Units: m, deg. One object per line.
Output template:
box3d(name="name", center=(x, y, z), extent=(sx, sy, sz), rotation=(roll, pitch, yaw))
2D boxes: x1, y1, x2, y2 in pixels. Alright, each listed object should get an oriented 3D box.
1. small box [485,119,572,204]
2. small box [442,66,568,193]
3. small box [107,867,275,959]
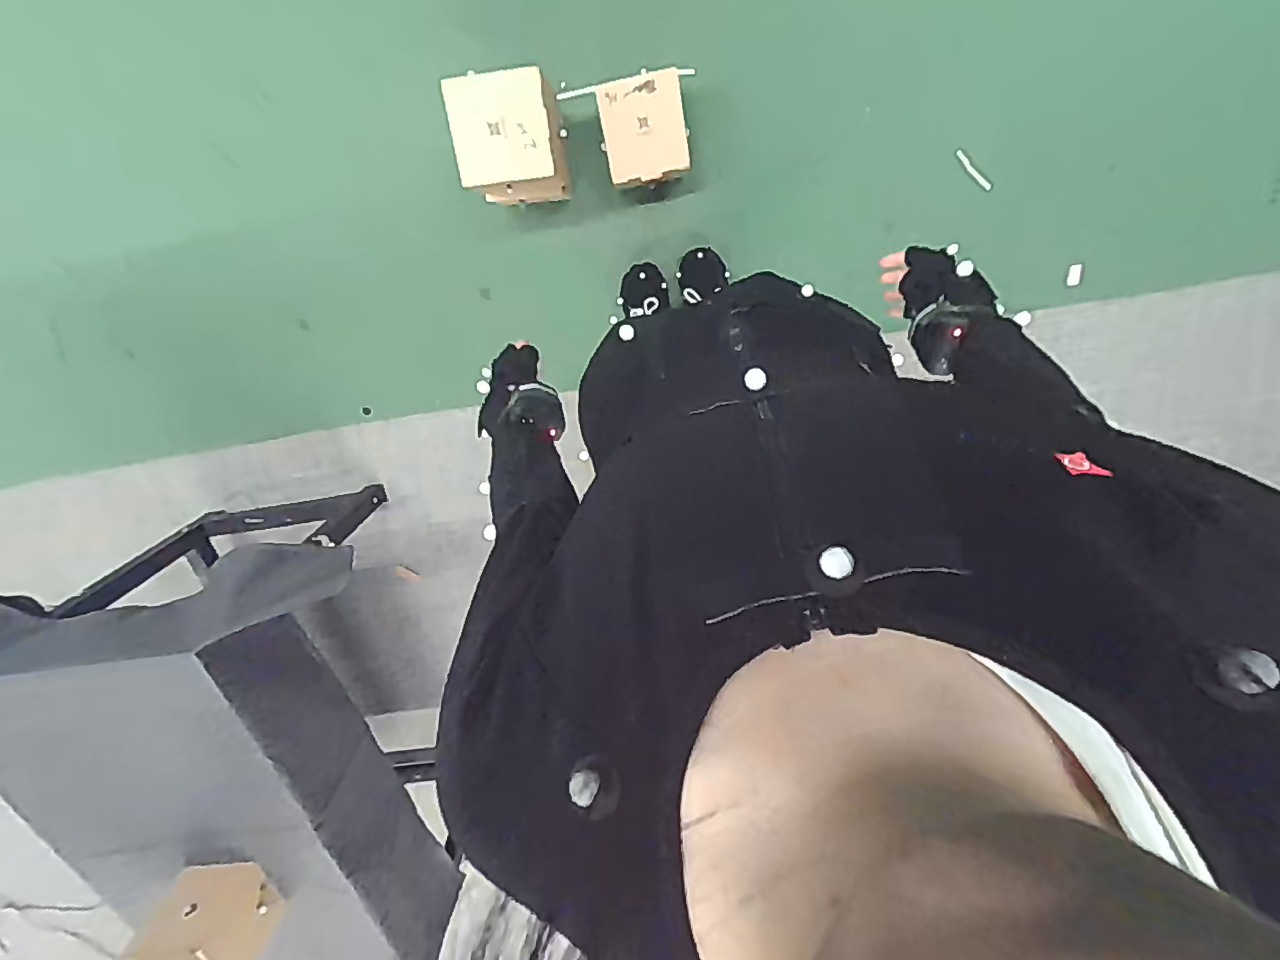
box3d(name="small box", center=(-0.247, -0.704, 1.176), extent=(0.168, 0.176, 0.179), rotation=(-3, 113, 3))
box3d(name="small box", center=(-0.244, -0.648, 1.020), extent=(0.179, 0.176, 0.168), rotation=(-4, 113, 4))
box3d(name="small box", center=(-0.914, 0.941, 1.118), extent=(0.179, 0.176, 0.168), rotation=(-8, 114, 4))
